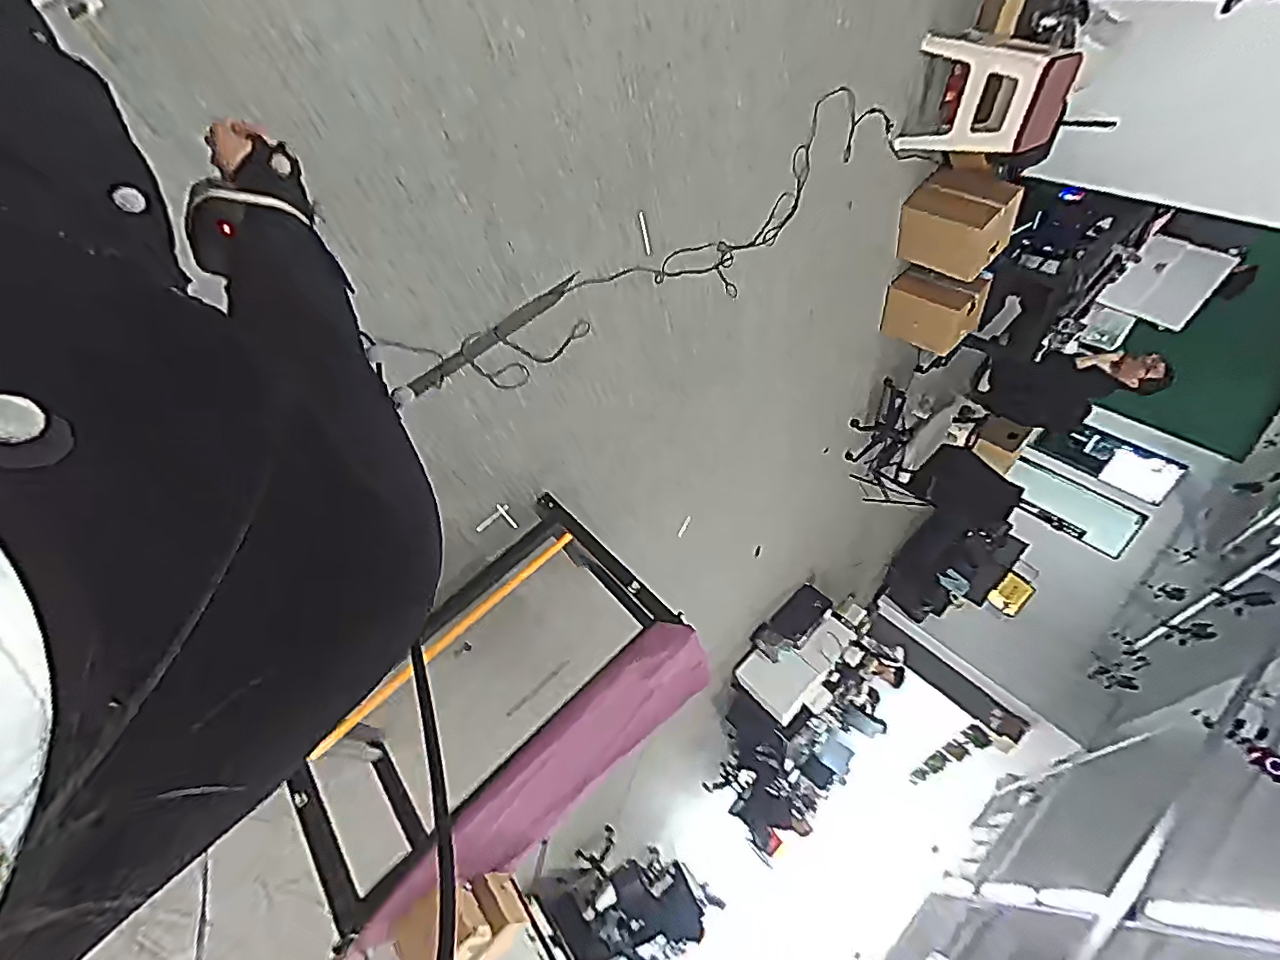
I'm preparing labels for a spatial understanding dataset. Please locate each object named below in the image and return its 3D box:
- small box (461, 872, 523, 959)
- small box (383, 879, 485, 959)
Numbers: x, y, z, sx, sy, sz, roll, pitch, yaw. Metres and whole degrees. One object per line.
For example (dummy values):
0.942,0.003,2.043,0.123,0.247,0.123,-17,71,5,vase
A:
-0.500,1.361,1.672,0.179,0.176,0.168,-40,144,-15,small box
-0.564,1.238,1.481,0.179,0.176,0.168,-37,145,-20,small box
